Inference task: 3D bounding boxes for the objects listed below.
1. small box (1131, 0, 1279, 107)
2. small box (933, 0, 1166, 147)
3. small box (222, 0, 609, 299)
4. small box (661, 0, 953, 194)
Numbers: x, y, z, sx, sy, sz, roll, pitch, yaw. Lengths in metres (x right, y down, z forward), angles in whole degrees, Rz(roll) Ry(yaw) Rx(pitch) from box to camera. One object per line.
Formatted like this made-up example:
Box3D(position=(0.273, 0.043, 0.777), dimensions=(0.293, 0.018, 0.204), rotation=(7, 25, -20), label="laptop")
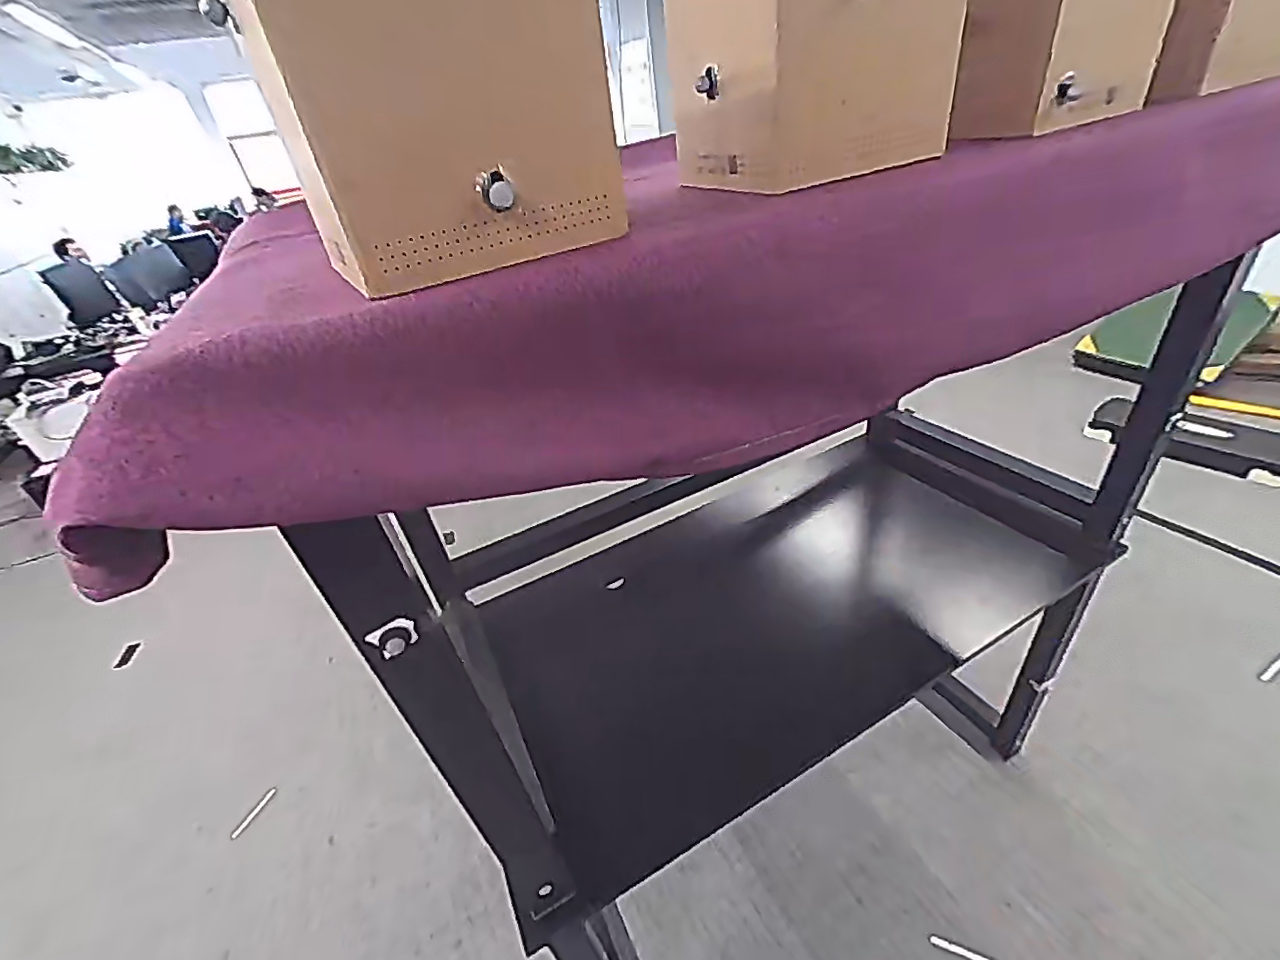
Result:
Box3D(position=(0.599, -0.517, 0.587), dimensions=(0.179, 0.176, 0.168), rotation=(-20, 34, -14), label="small box")
Box3D(position=(0.369, -0.436, 0.526), dimensions=(0.168, 0.176, 0.179), rotation=(-22, 35, -18), label="small box")
Box3D(position=(-0.132, -0.230, 0.345), dimensions=(0.179, 0.176, 0.168), rotation=(-25, 37, -24), label="small box")
Box3D(position=(0.137, -0.349, 0.454), dimensions=(0.179, 0.176, 0.168), rotation=(-20, 36, -15), label="small box")
